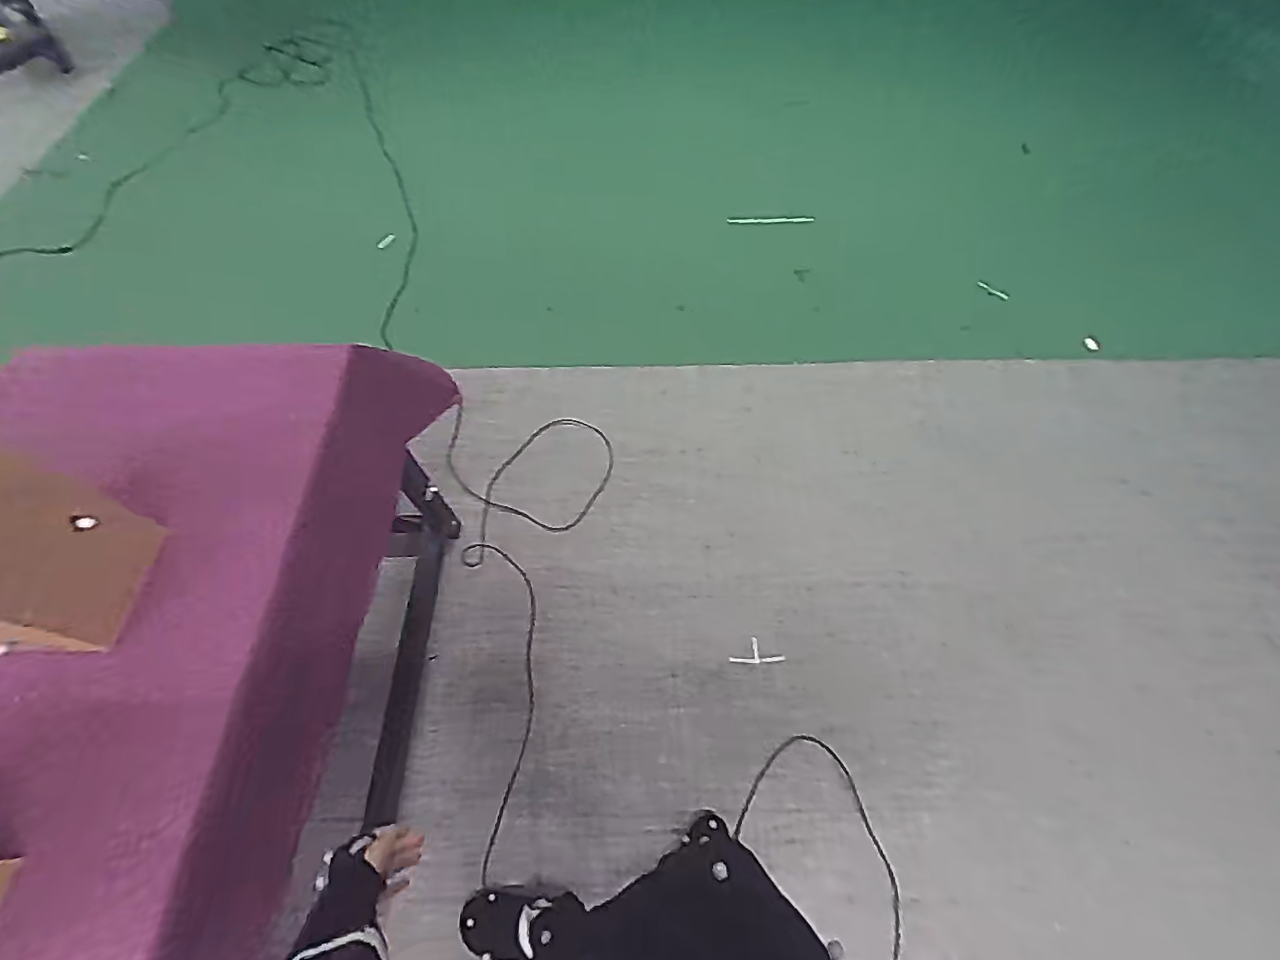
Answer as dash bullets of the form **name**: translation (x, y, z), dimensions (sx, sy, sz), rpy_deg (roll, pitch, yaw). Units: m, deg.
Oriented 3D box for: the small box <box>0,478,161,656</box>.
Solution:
- **small box**: translation (-0.771, 0.113, 0.684), dimensions (0.168, 0.176, 0.179), rpy_deg (0, 61, 2)
